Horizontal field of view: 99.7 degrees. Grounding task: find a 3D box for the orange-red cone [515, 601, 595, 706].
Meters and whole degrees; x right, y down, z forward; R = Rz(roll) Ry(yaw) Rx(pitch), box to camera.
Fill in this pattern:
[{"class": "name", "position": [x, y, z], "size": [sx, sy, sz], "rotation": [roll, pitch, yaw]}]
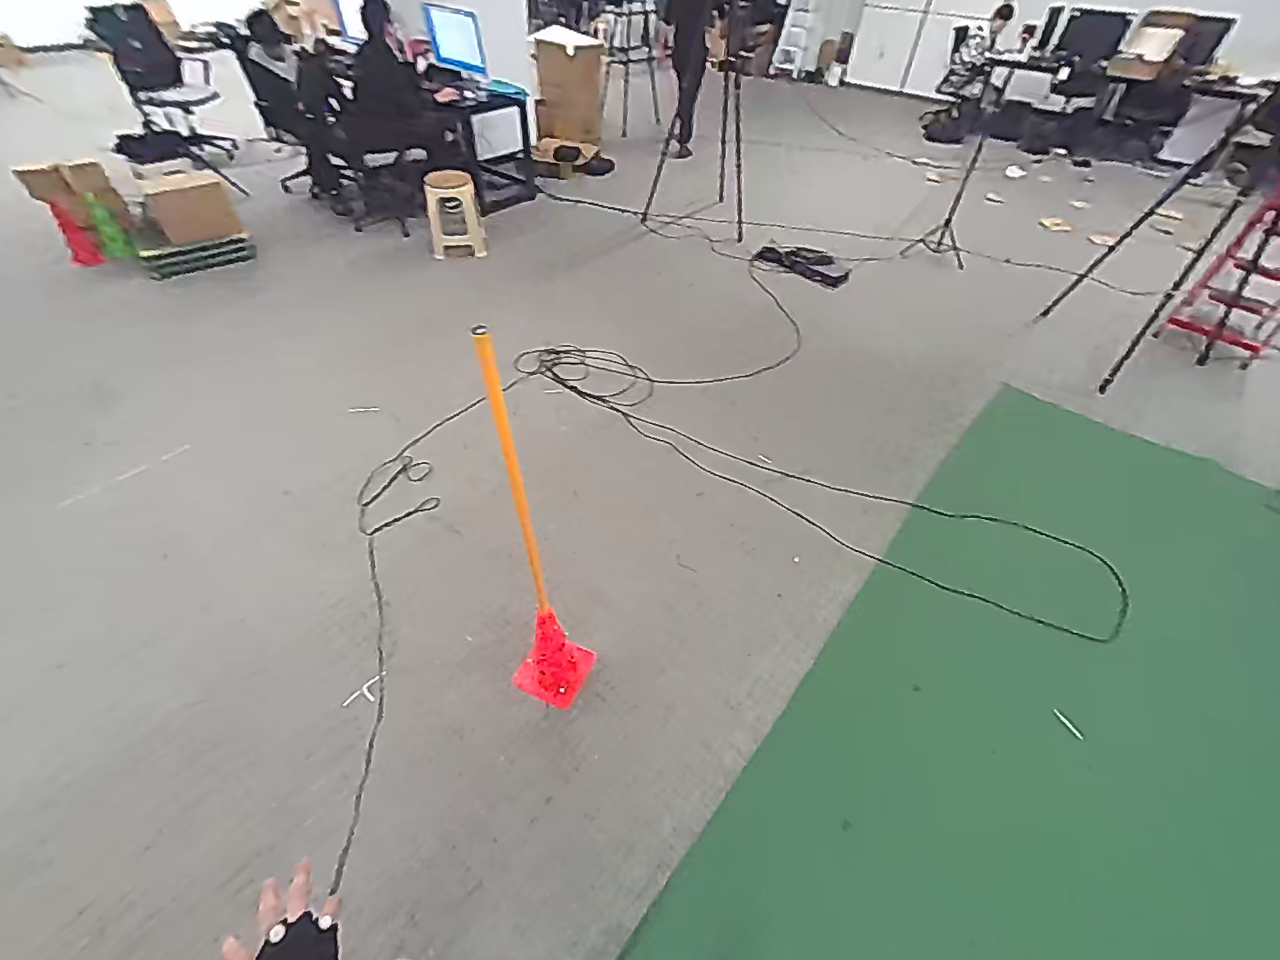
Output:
[{"class": "orange-red cone", "position": [-0.254, 0.460, 1.558], "size": [0.198, 0.360, 0.199], "rotation": [21, 47, 16]}]
